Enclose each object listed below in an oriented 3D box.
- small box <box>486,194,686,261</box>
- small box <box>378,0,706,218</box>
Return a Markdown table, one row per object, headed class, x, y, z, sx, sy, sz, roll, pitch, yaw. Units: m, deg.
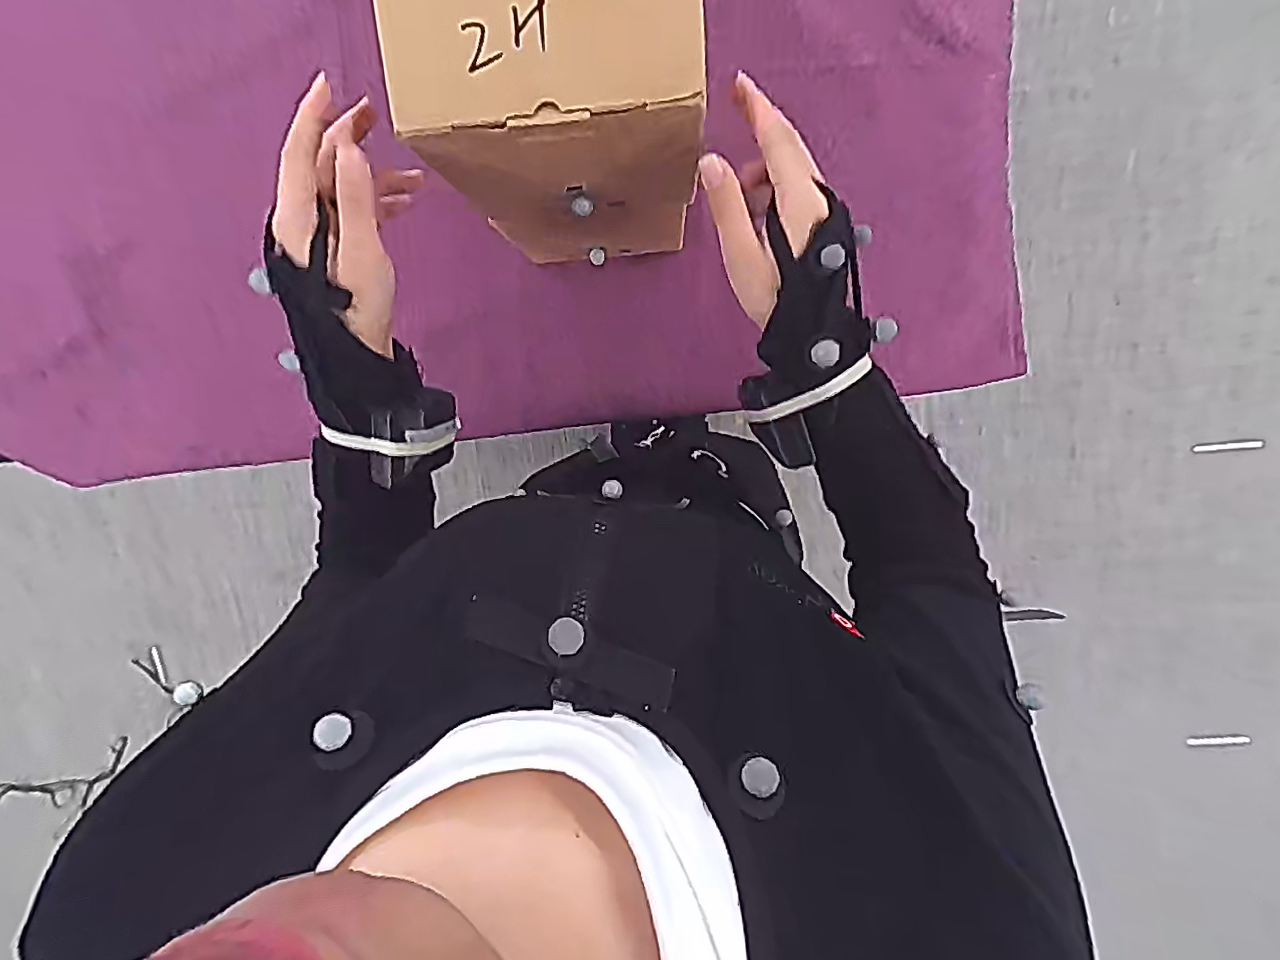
| class | x | y | z | sx | sy | sz | roll | pitch | yaw |
| --- | --- | --- | --- | --- | --- | --- | --- | --- | --- |
| small box | -0.046 | -0.319 | 0.506 | 0.168 | 0.176 | 0.179 | -3 | 101 | 3 |
| small box | -0.048 | -0.289 | 0.342 | 0.168 | 0.176 | 0.179 | -3 | 99 | 4 |
